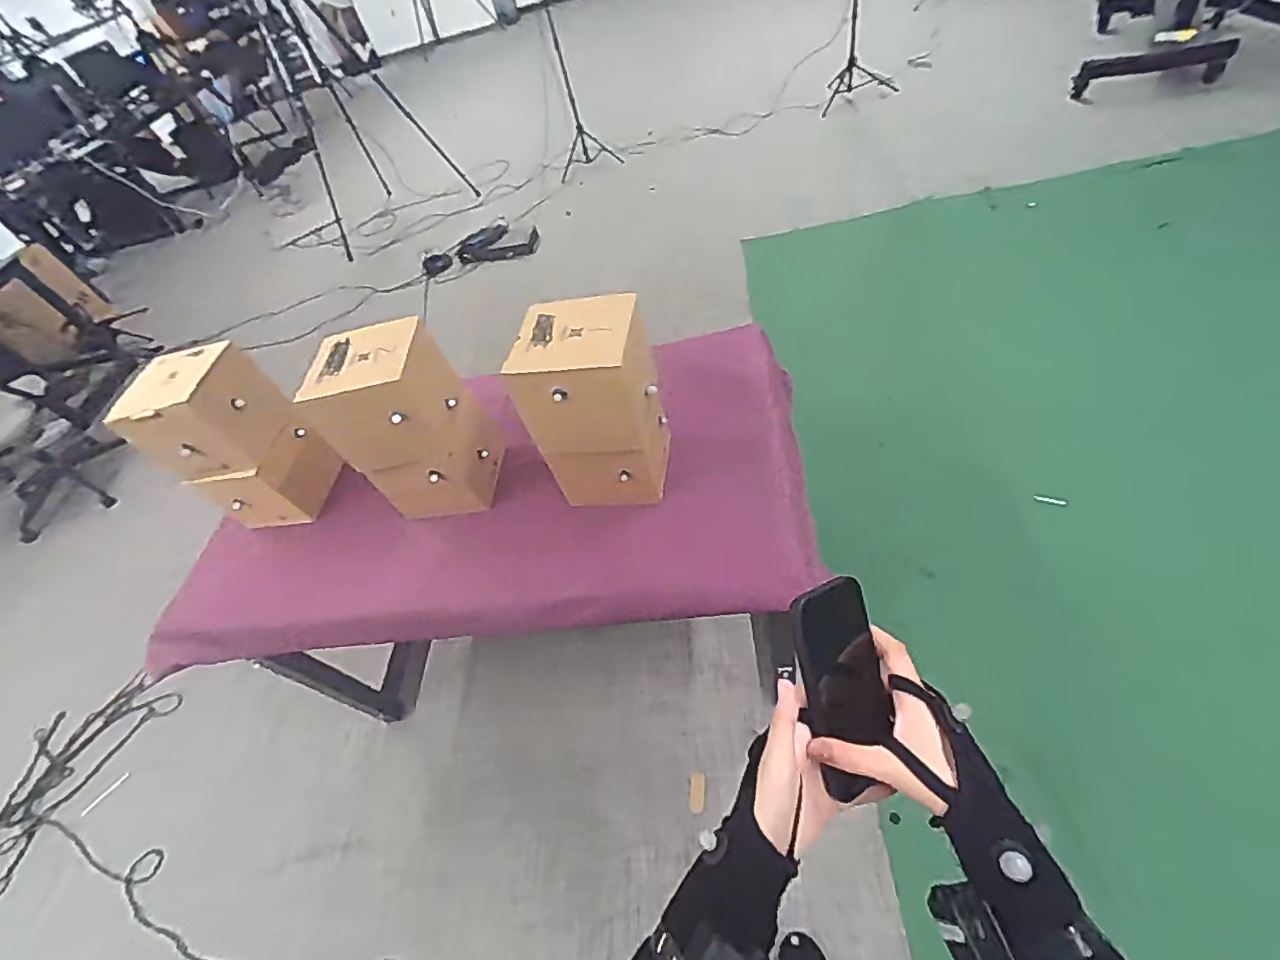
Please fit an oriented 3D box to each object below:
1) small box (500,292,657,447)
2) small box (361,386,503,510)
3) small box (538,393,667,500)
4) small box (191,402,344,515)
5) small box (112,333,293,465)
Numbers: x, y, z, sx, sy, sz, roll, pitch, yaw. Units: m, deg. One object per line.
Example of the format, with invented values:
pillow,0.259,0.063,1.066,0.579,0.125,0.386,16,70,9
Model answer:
small box,-0.082,-0.163,0.832,0.179,0.176,0.168,0,52,15
small box,-0.386,-0.056,1.043,0.179,0.176,0.168,-5,51,12
small box,-0.054,-0.075,0.968,0.179,0.176,0.168,0,52,16
small box,-0.766,-0.037,1.135,0.168,0.176,0.179,-5,51,12
small box,-0.800,-0.143,1.015,0.168,0.176,0.179,-8,51,8
